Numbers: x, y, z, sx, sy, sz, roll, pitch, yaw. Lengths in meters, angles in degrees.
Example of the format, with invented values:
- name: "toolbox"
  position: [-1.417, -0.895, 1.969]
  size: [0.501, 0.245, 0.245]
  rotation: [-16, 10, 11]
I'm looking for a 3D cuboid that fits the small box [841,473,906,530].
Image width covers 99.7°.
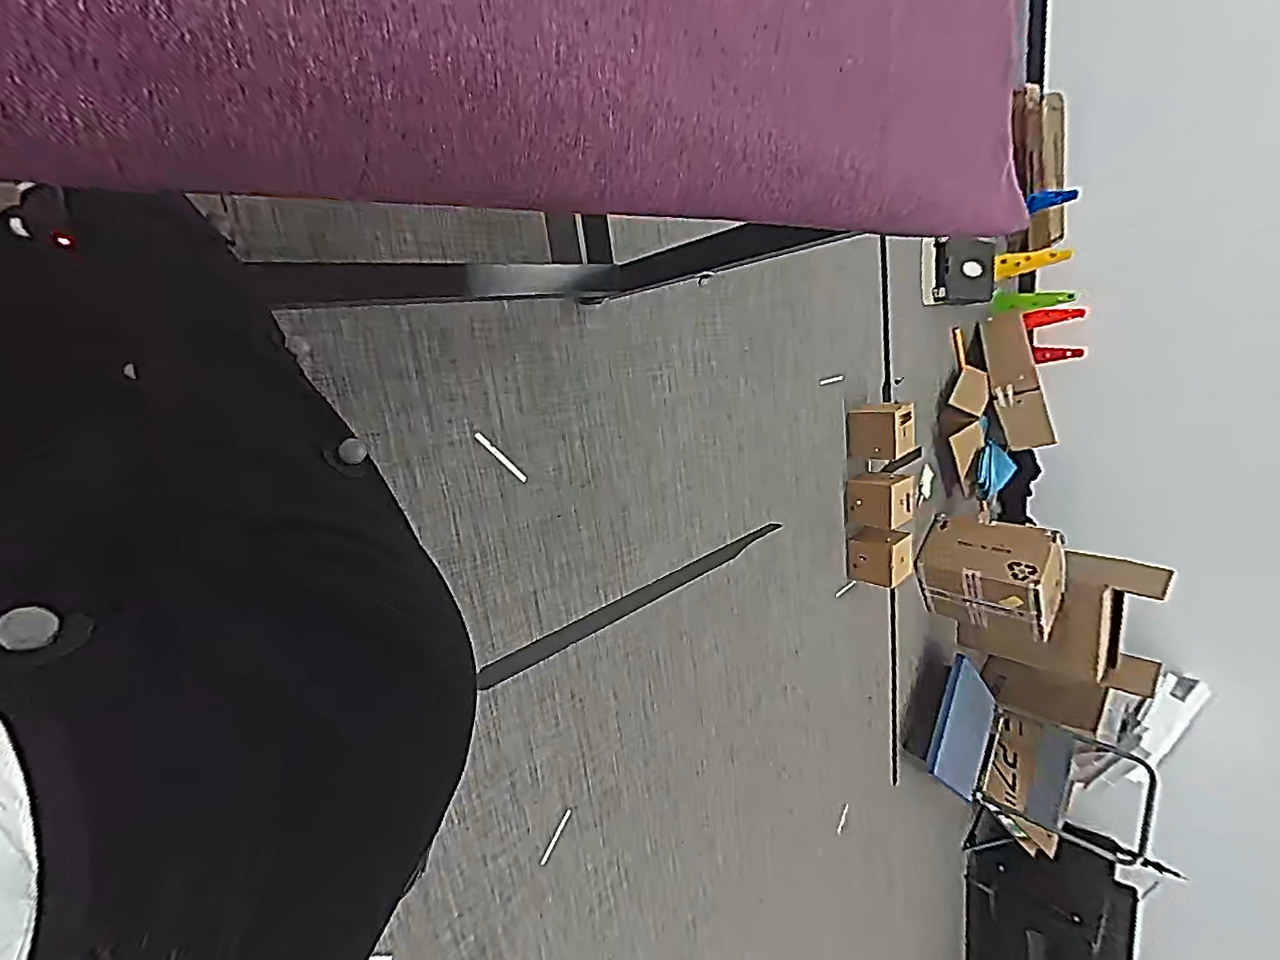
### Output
- name: "small box"
  position: [0.866, 0.072, 2.008]
  size: [0.179, 0.176, 0.168]
  rotation: [-16, 106, -40]

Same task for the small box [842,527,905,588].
- name: "small box"
  position: [0.894, 0.289, 2.068]
  size: [0.179, 0.176, 0.168]
  rotation: [-19, 108, -40]

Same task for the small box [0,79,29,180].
- name: "small box"
  position: [-0.605, -0.344, 0.395]
  size: [0.168, 0.176, 0.179]
  rotation: [-23, 112, -40]
